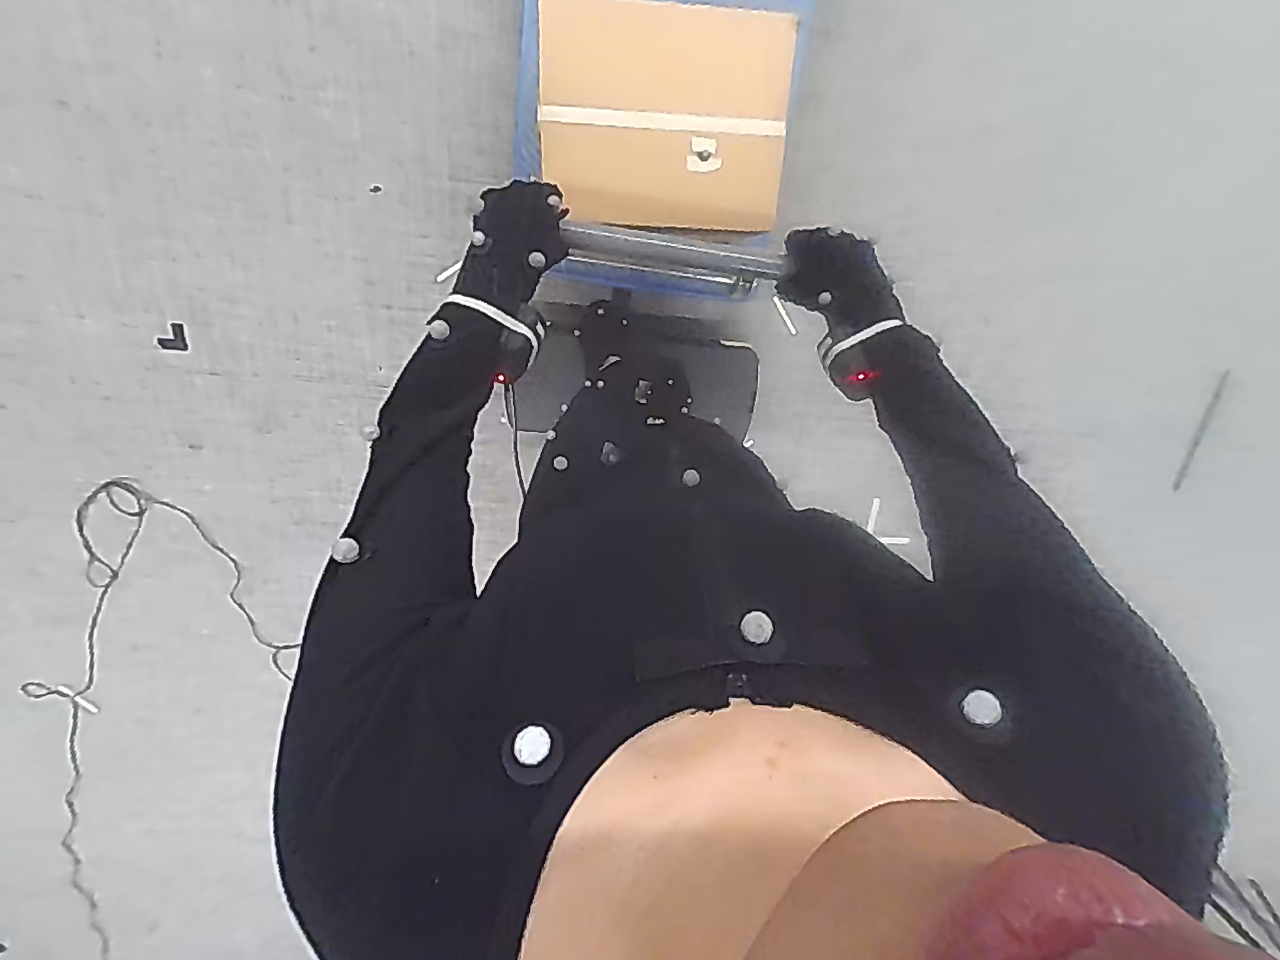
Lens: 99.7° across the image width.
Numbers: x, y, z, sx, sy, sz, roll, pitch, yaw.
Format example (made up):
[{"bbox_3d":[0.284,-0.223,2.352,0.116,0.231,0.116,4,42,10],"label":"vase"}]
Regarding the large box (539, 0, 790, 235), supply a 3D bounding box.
[{"bbox_3d":[0.024,-0.651,1.032,0.408,0.320,0.320,0,112,-6],"label":"large box"}]
